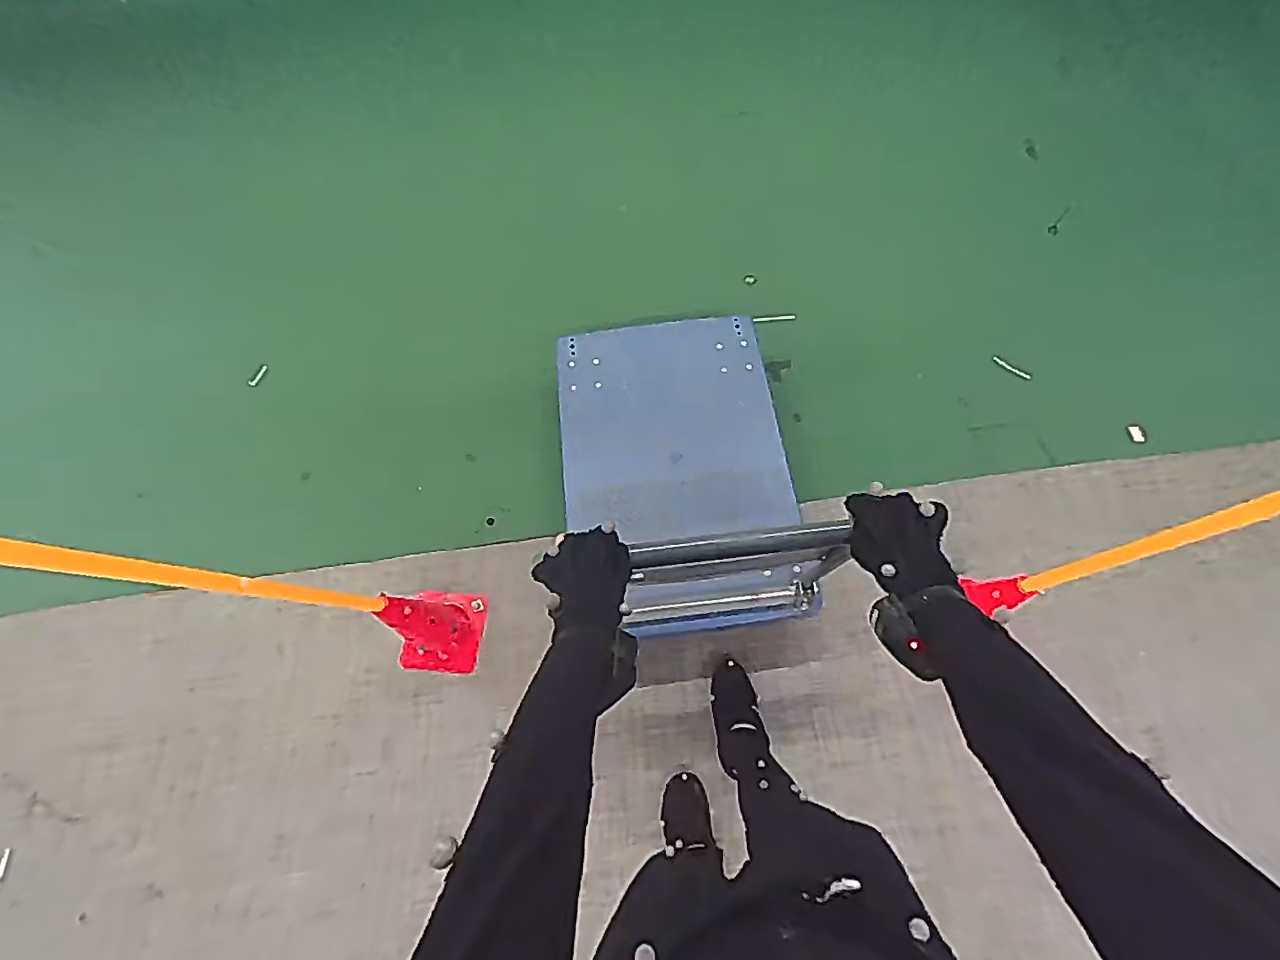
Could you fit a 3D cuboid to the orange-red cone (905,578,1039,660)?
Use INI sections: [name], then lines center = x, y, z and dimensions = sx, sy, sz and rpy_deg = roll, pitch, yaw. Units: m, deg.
[orange-red cone]
center = 0.771, 0.282, 1.213
dimensions = 0.198, 0.360, 0.199
rpy_deg = 2, 67, 5
